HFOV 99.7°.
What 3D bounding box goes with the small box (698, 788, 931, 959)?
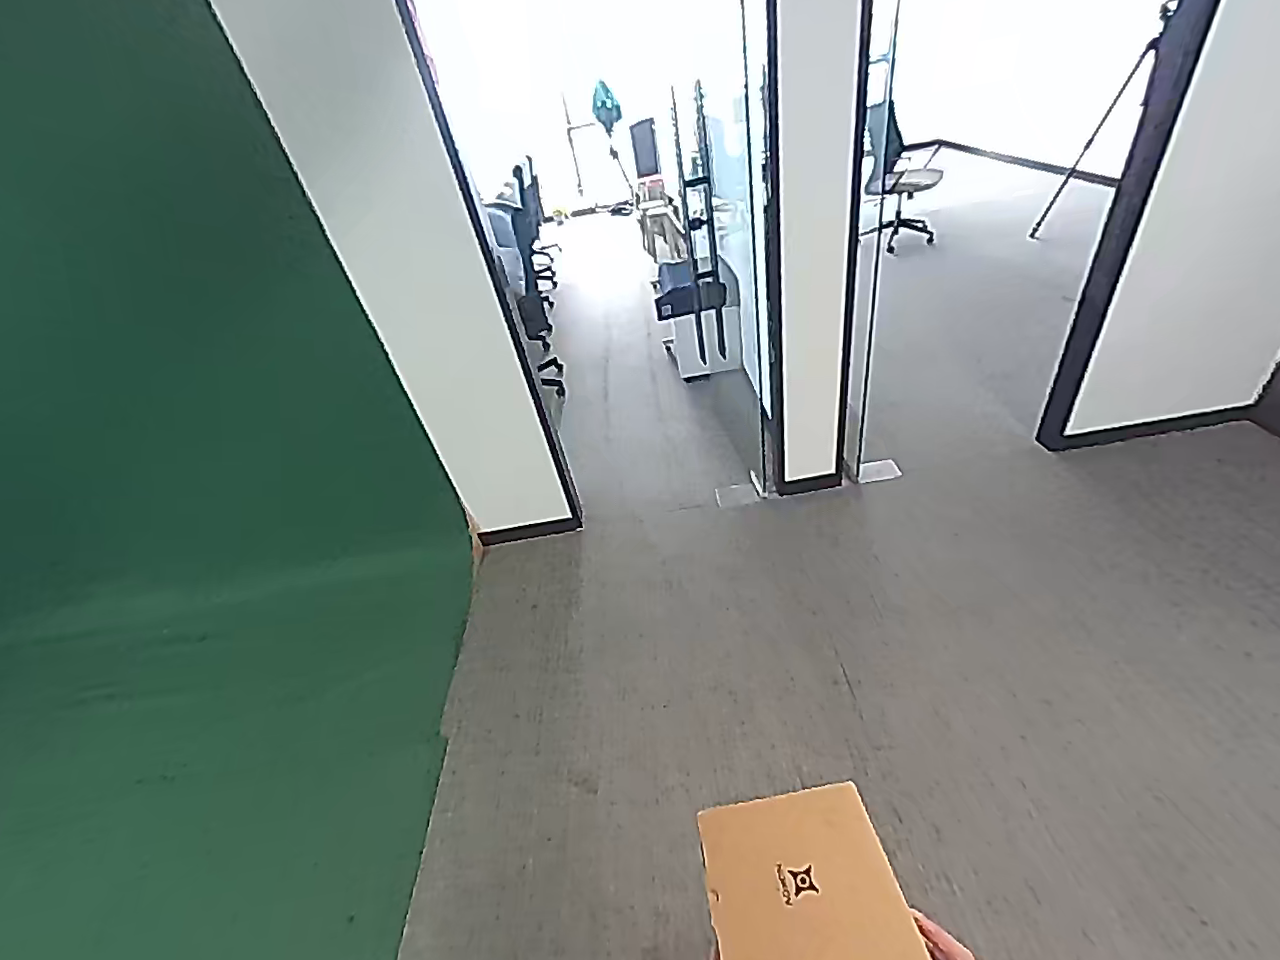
[{"bbox_3d":[0.168,0.451,0.544,0.179,0.176,0.168,-13,27,2],"label":"small box"}]
